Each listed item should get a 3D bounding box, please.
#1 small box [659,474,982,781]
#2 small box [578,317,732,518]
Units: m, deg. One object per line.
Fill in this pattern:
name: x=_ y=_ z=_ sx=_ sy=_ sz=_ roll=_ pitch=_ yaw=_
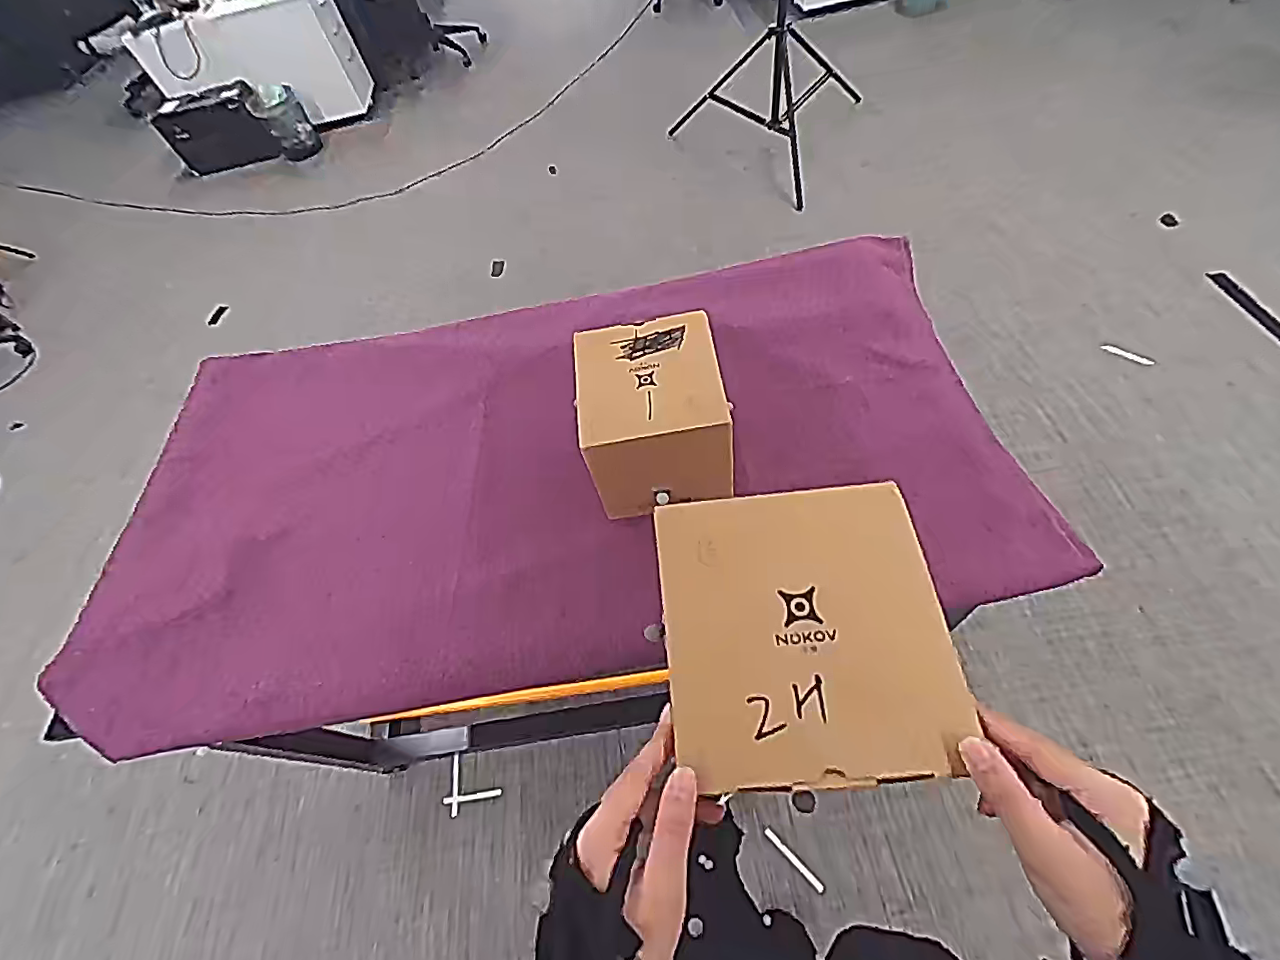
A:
small box: x=0.103 y=0.117 z=0.399 sx=0.168 sy=0.176 sz=0.179 roll=-6 pitch=60 yaw=4
small box: x=0.020 y=-0.074 z=0.687 sx=0.168 sy=0.176 sz=0.179 roll=-9 pitch=57 yaw=5
